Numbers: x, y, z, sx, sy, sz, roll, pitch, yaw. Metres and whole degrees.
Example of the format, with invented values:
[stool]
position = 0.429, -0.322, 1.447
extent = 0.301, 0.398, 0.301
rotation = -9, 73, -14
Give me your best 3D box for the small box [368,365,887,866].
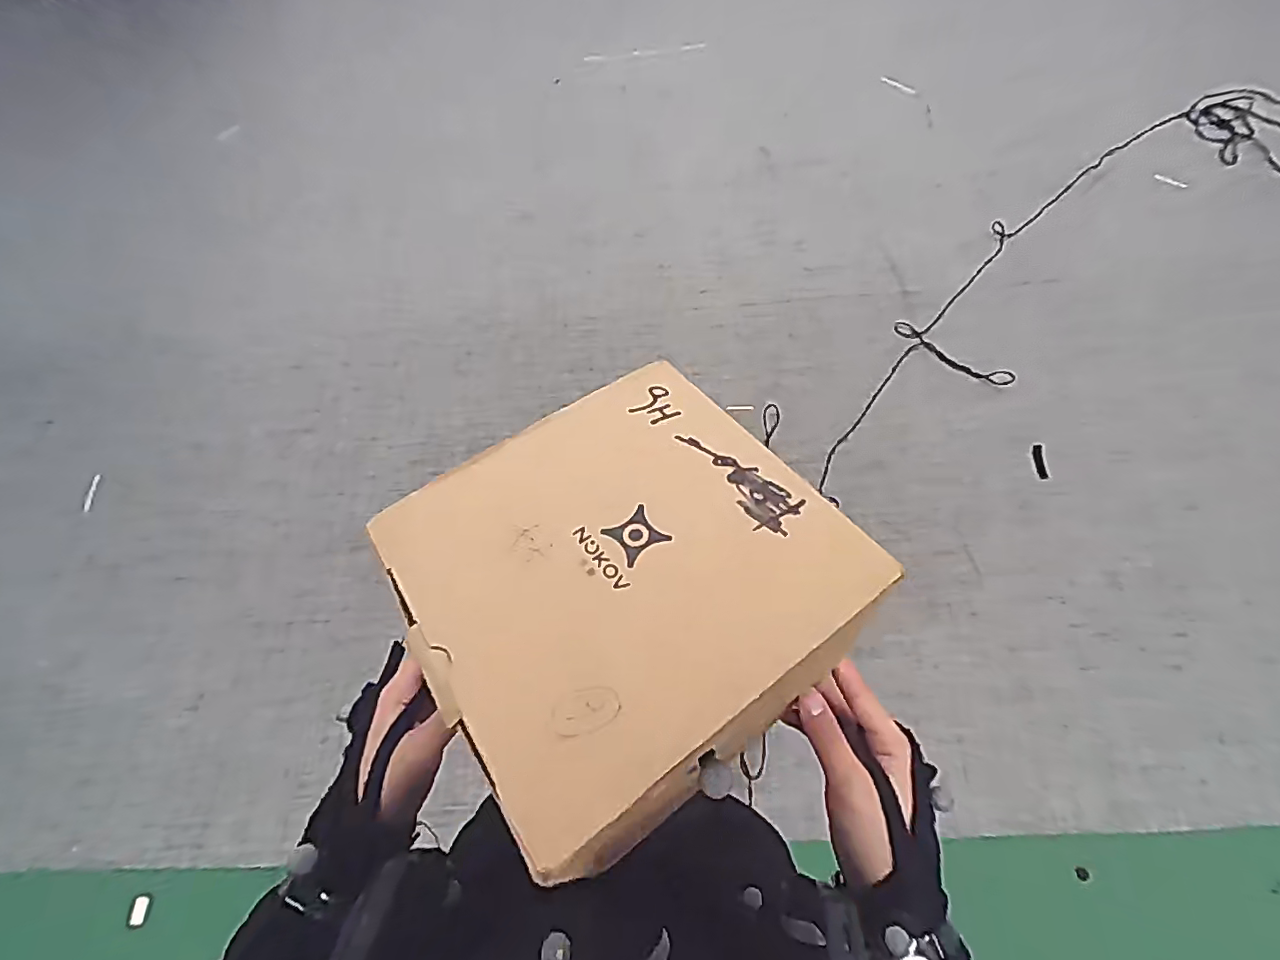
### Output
[small box]
position = -0.006, 0.077, 0.299
extent = 0.179, 0.176, 0.168
rotation = -32, 58, -17
